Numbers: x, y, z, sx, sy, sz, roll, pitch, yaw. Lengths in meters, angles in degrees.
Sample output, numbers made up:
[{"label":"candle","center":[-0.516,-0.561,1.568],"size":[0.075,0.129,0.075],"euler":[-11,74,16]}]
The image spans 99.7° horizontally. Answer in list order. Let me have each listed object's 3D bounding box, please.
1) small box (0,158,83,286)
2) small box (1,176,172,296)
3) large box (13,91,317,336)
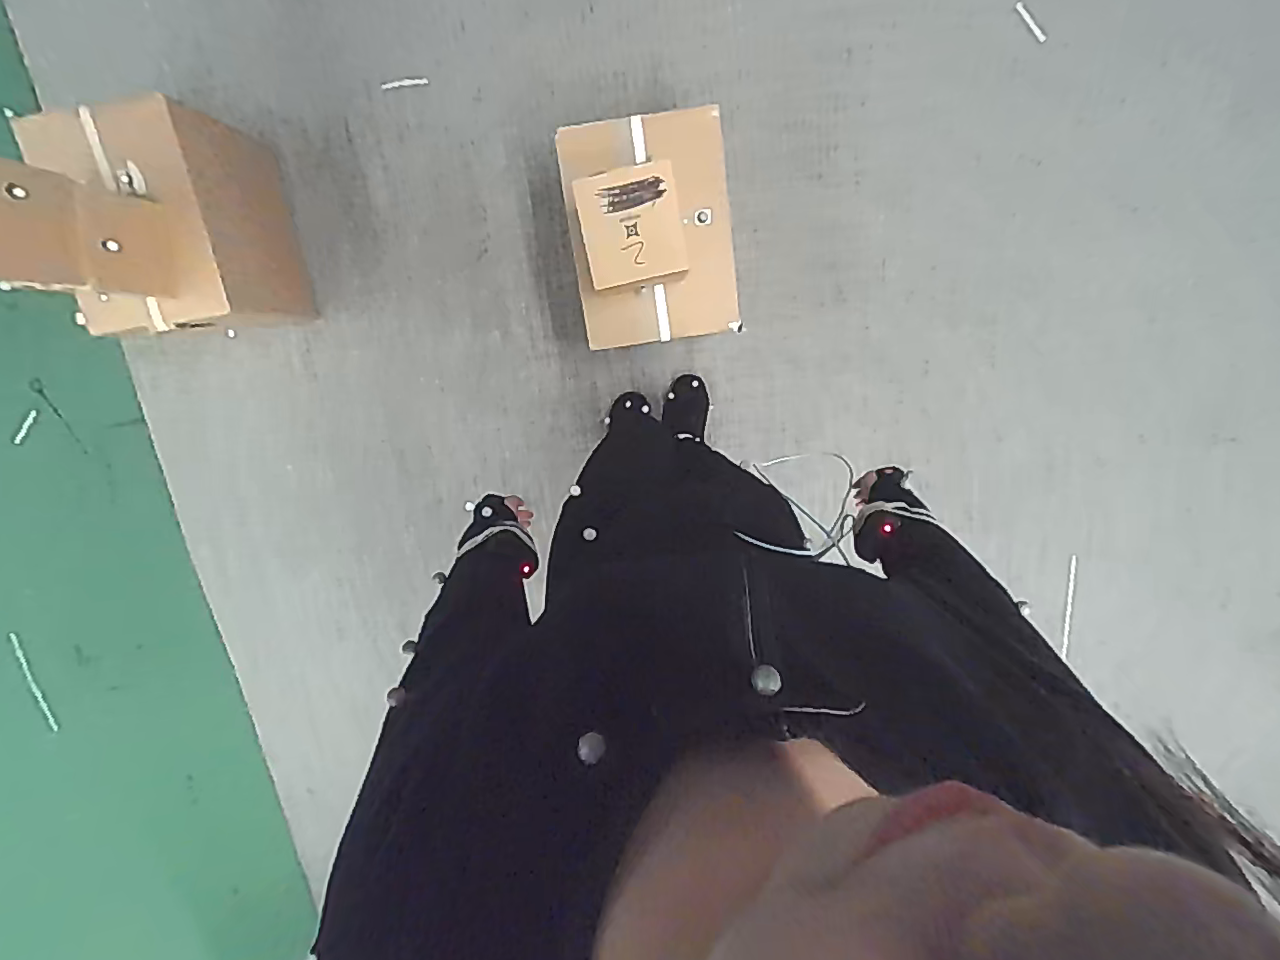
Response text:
[{"label":"small box","center":[-1.017,-0.402,0.821],"size":[0.168,0.176,0.179],"euler":[7,106,1]},{"label":"small box","center":[-1.007,-0.436,0.980],"size":[0.168,0.176,0.179],"euler":[4,106,1]},{"label":"large box","center":[-1.002,-0.548,1.201],"size":[0.320,0.320,0.408],"euler":[-7,104,3]}]
